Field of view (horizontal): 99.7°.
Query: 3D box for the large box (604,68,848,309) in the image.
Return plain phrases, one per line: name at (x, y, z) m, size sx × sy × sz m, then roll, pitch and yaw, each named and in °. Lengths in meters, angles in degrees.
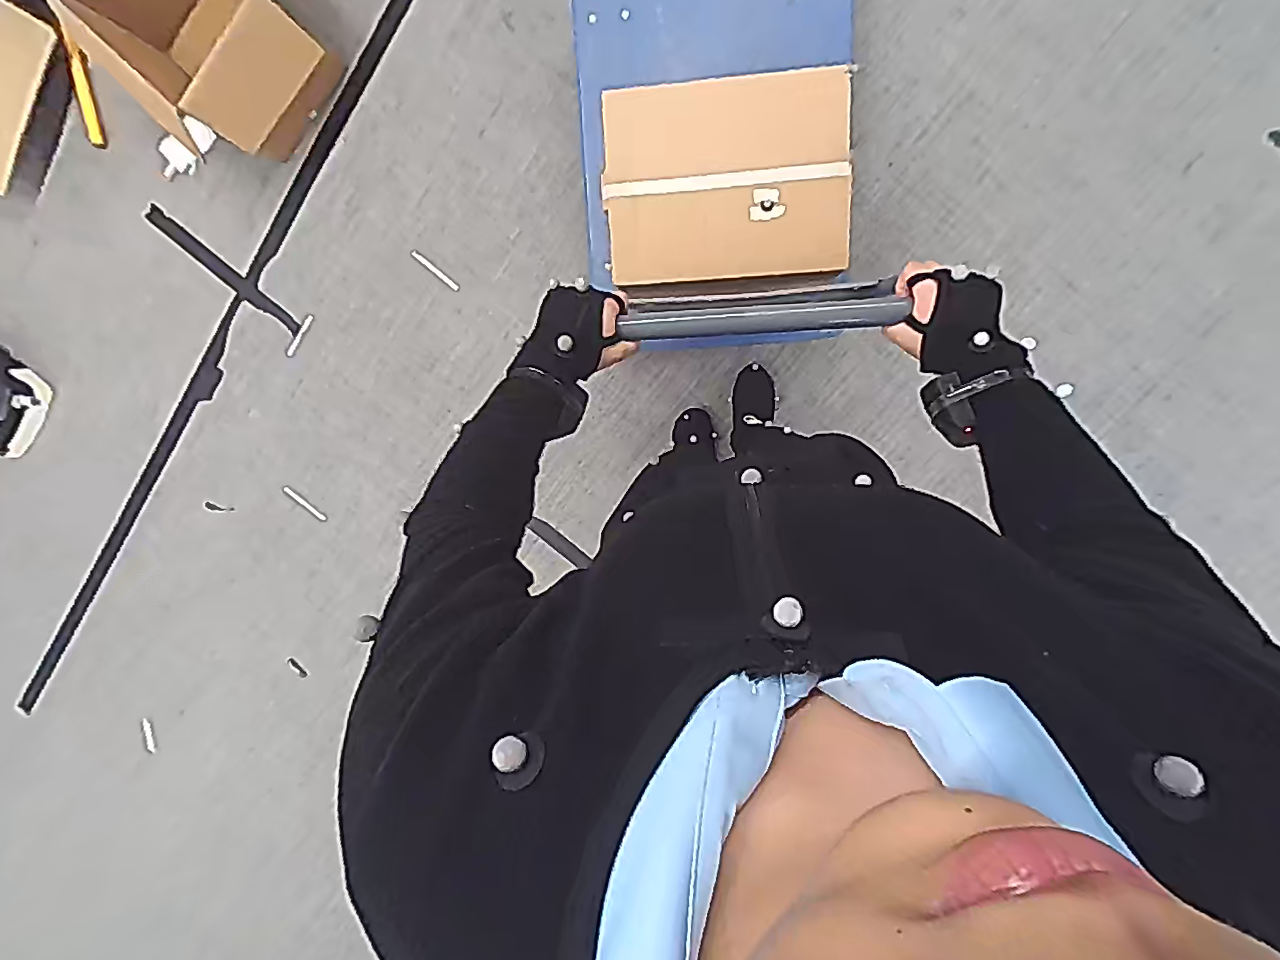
large box at (0.156, -0.528, 1.056) m, size 0.408 × 0.320 × 0.320 m, roll -3°, pitch 101°, yaw 5°
